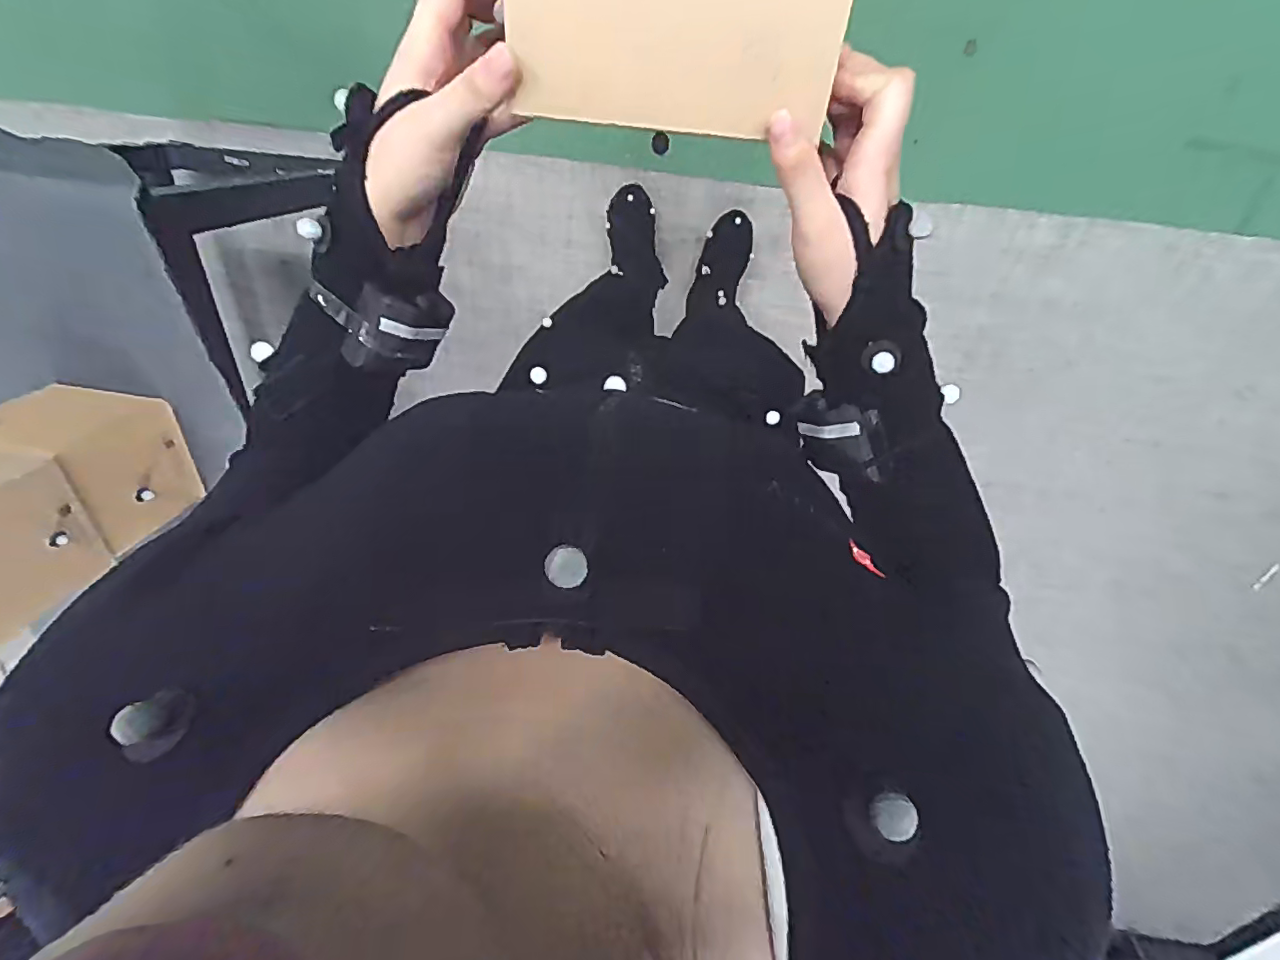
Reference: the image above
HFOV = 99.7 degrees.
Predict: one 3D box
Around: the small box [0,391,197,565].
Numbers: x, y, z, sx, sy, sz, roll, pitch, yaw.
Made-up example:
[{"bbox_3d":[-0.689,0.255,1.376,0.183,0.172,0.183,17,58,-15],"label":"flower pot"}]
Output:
[{"bbox_3d":[-0.764,-0.009,0.742,0.179,0.176,0.168,8,124,3],"label":"small box"}]
